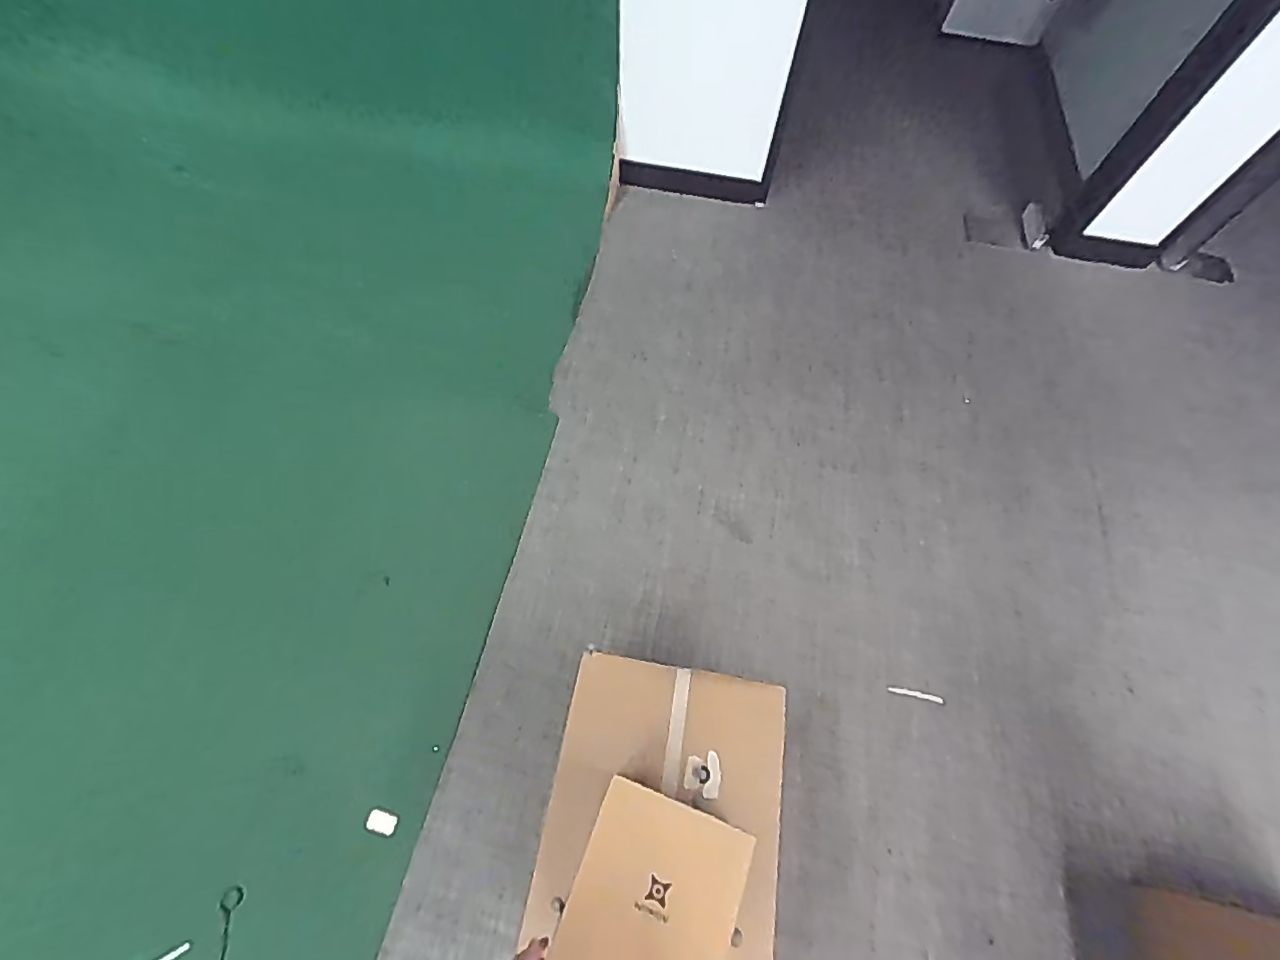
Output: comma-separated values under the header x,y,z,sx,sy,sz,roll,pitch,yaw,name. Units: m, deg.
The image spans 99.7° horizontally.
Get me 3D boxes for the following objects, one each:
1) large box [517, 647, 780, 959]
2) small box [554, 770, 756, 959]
x,y,z,sx,sy,sz,roll,pitch,yaw,name
0.027,0.523,0.864,0.320,0.320,0.408,10,62,3,large box
0.018,0.455,0.622,0.168,0.176,0.179,19,64,9,small box
